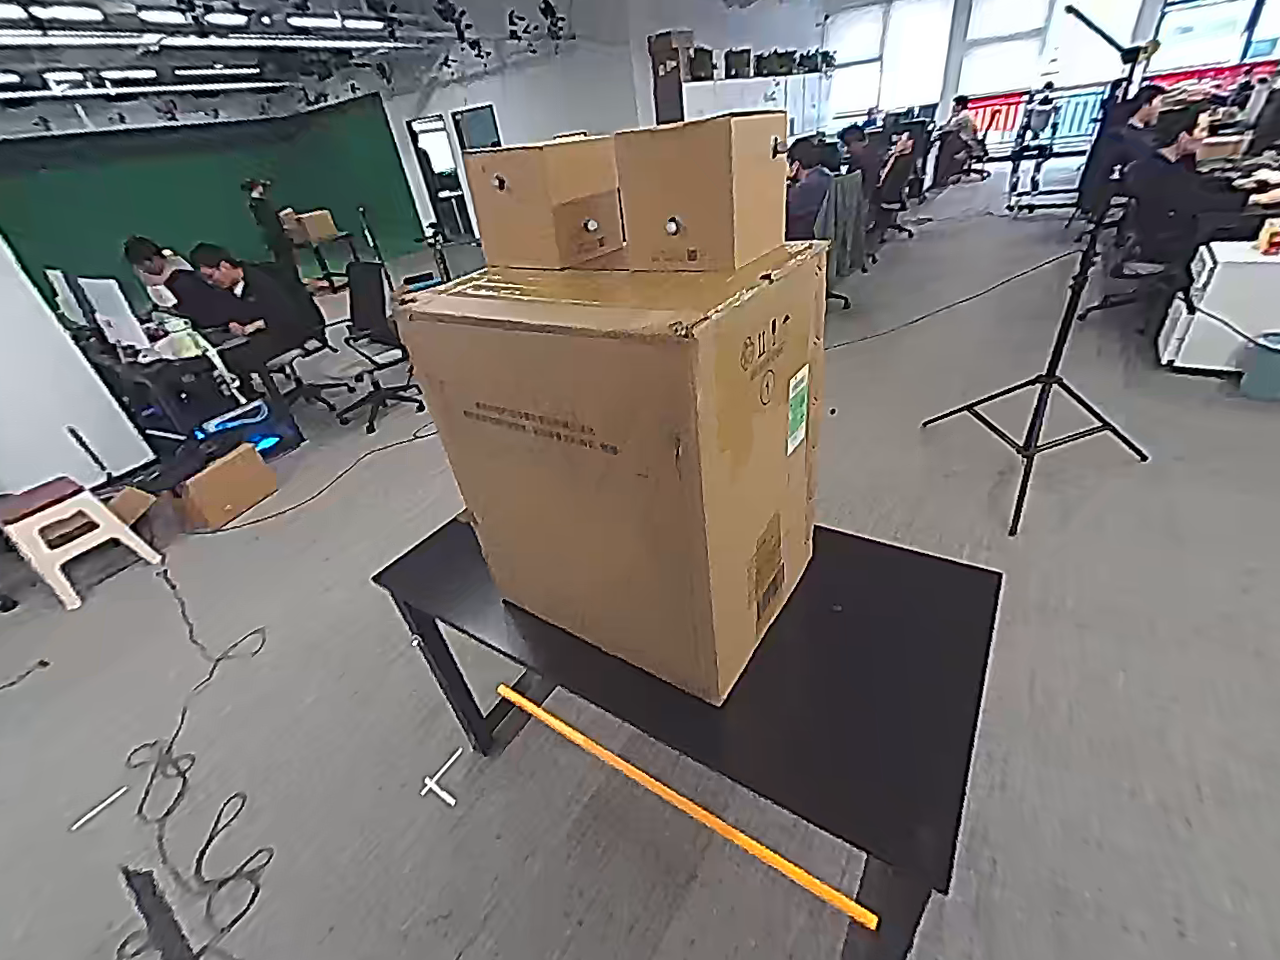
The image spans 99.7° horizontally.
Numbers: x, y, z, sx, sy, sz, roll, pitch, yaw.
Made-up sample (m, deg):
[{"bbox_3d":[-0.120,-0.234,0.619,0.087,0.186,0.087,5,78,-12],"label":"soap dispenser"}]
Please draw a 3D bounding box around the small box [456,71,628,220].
[{"bbox_3d":[-0.136,-0.488,0.800,0.179,0.176,0.168,17,40,31],"label":"small box"}]

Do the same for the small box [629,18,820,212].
[{"bbox_3d":[0.107,-0.431,0.659,0.168,0.176,0.179,13,37,31],"label":"small box"}]
